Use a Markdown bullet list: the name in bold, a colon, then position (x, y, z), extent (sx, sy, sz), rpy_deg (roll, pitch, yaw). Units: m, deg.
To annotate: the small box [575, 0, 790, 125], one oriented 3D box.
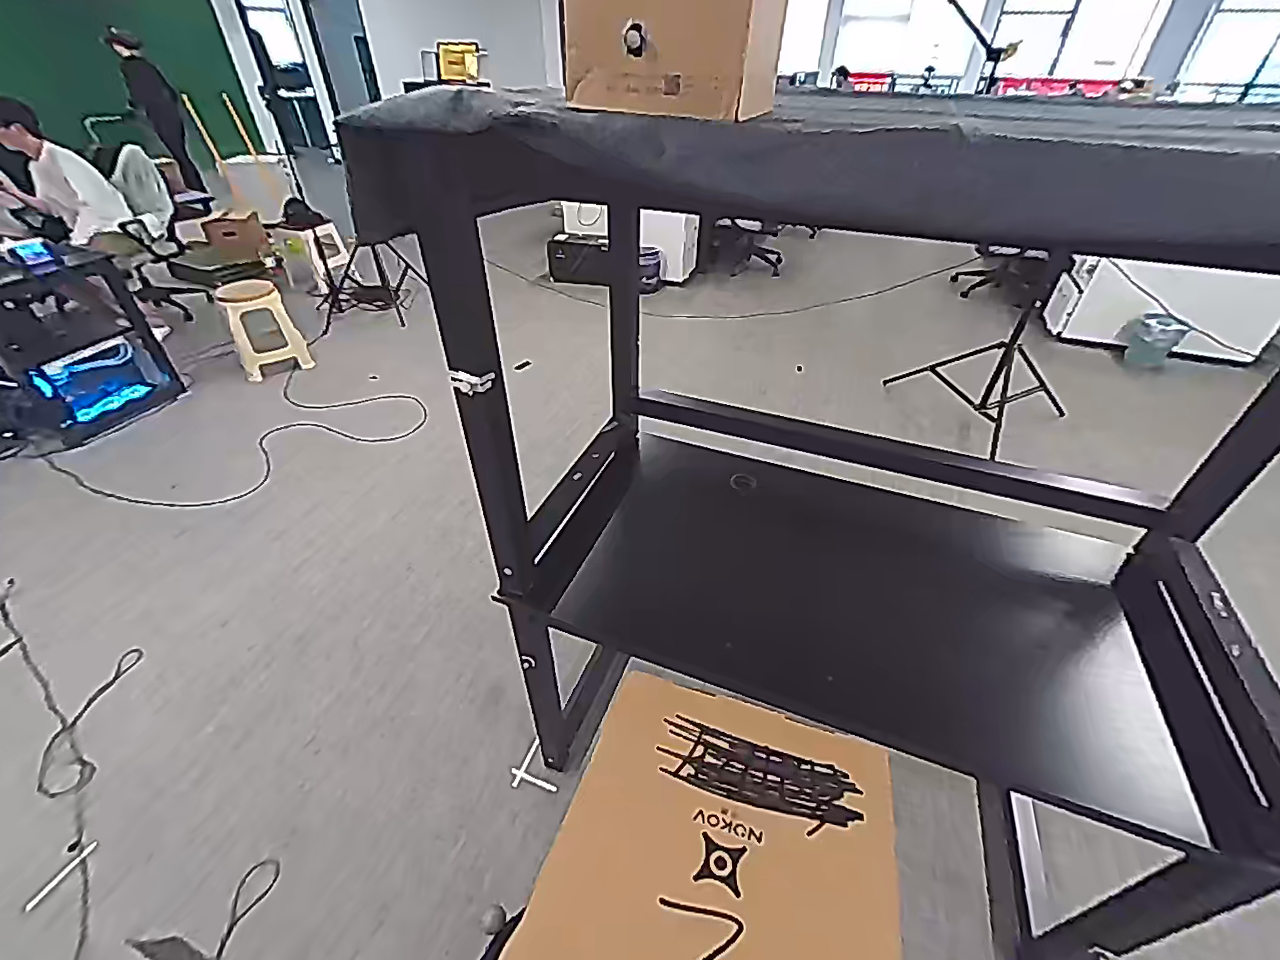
- **small box**: position (0.044, -0.440, 0.498), extent (0.168, 0.176, 0.179), rpy_deg (14, 39, 14)
